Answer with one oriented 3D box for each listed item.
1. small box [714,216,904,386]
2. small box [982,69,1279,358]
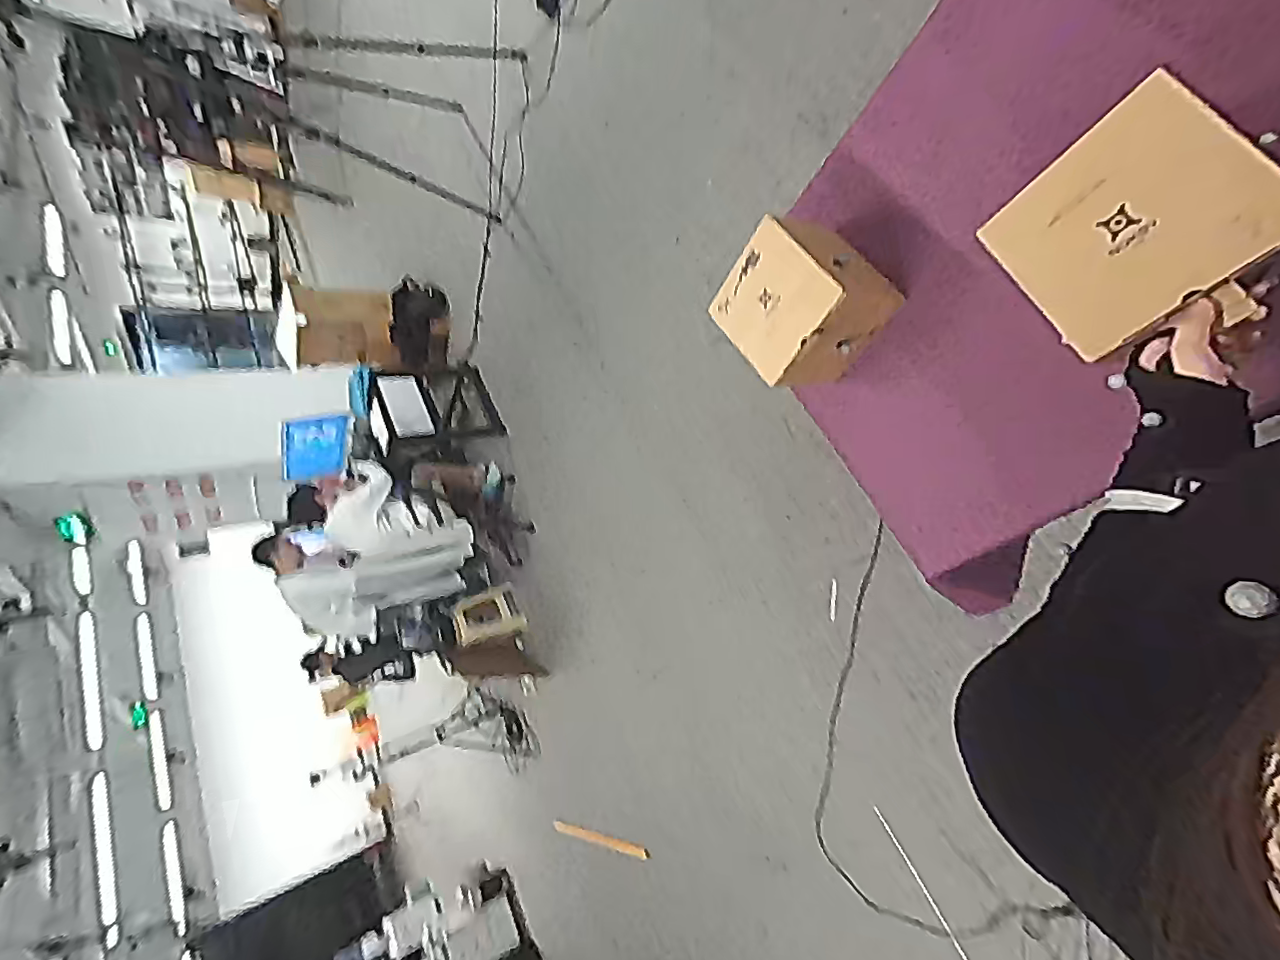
[{"bbox_3d":[0.253,-0.266,0.814,0.179,0.176,0.168,57,137,24],"label":"small box"},{"bbox_3d":[0.488,-0.238,0.521,0.168,0.176,0.179,-47,62,46],"label":"small box"}]
